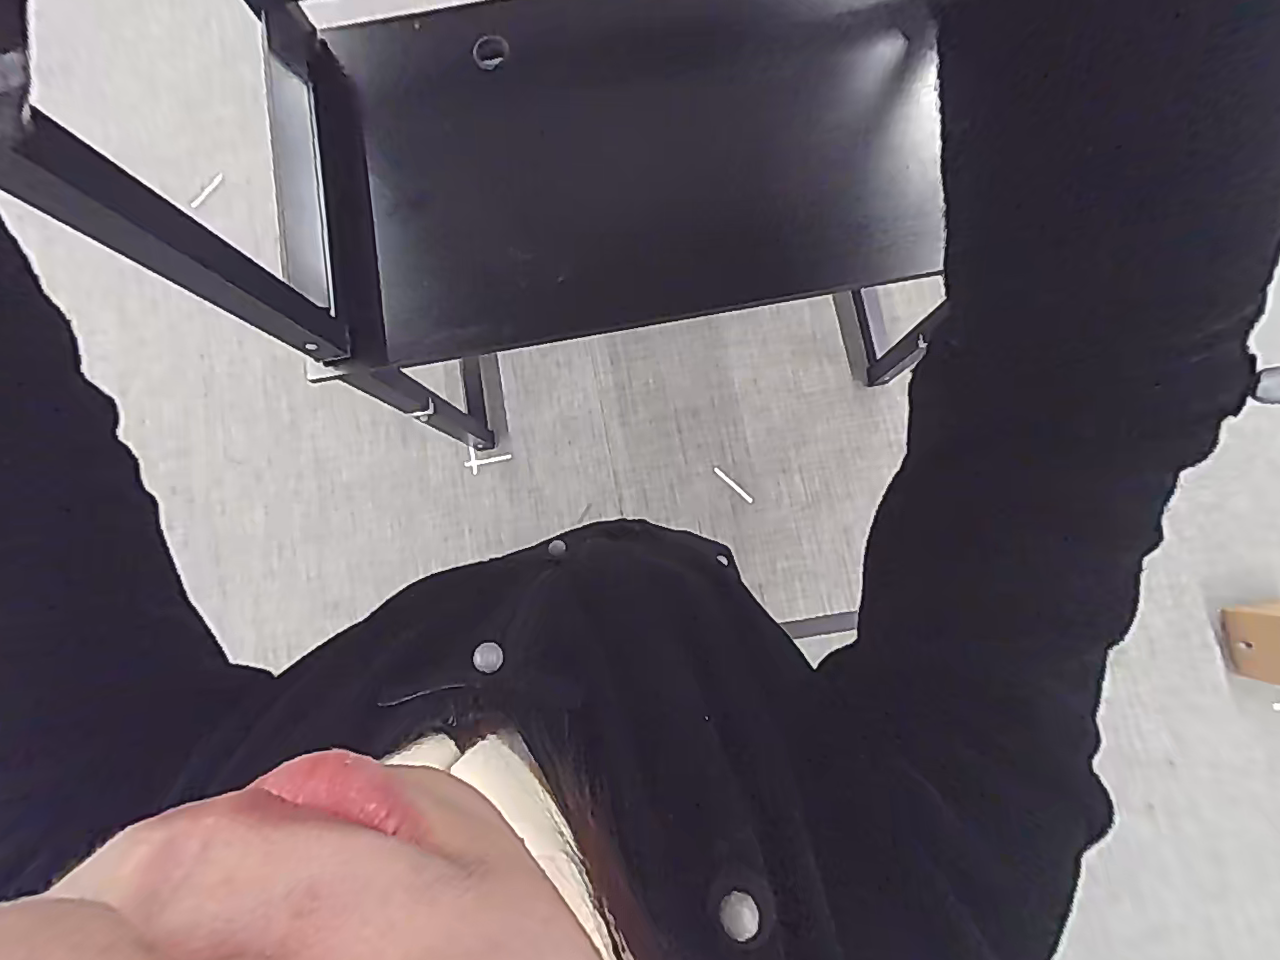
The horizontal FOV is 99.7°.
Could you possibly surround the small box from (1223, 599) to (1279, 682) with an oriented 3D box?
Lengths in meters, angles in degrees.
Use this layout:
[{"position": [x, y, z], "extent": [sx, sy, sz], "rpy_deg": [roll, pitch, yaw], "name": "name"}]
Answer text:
[{"position": [1.613, 0.399, 1.327], "extent": [0.168, 0.176, 0.179], "rpy_deg": [-8, 84, 1], "name": "small box"}]
